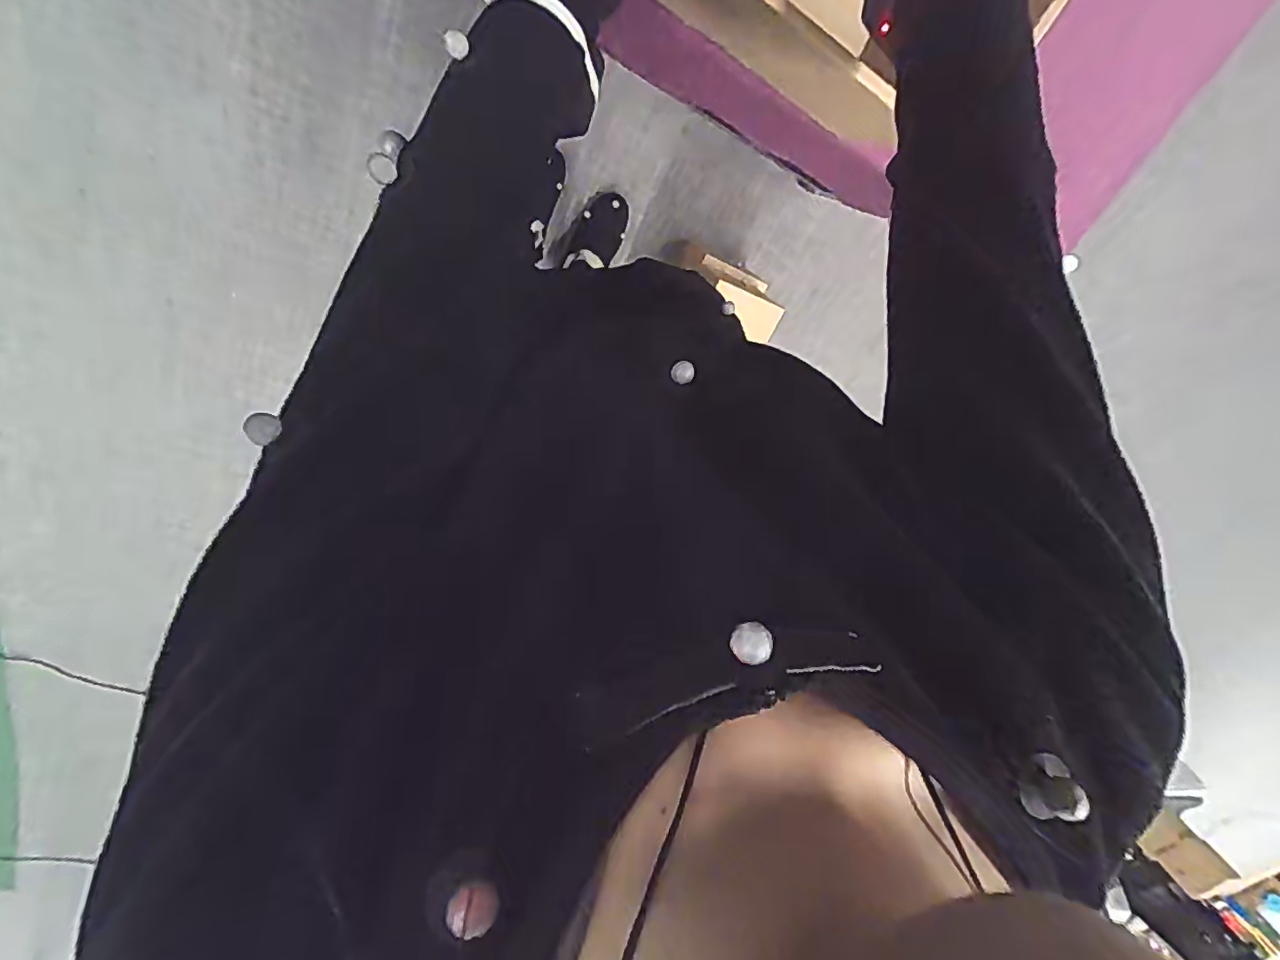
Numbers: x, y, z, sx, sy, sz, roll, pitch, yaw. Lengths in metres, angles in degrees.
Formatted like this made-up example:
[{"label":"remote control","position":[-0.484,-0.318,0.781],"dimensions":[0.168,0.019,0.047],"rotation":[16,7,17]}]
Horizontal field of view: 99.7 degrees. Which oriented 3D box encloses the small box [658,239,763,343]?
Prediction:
[{"label":"small box","position":[0.167,-0.470,1.331],"dimensions":[0.179,0.176,0.168],"rotation":[17,119,-21]}]
